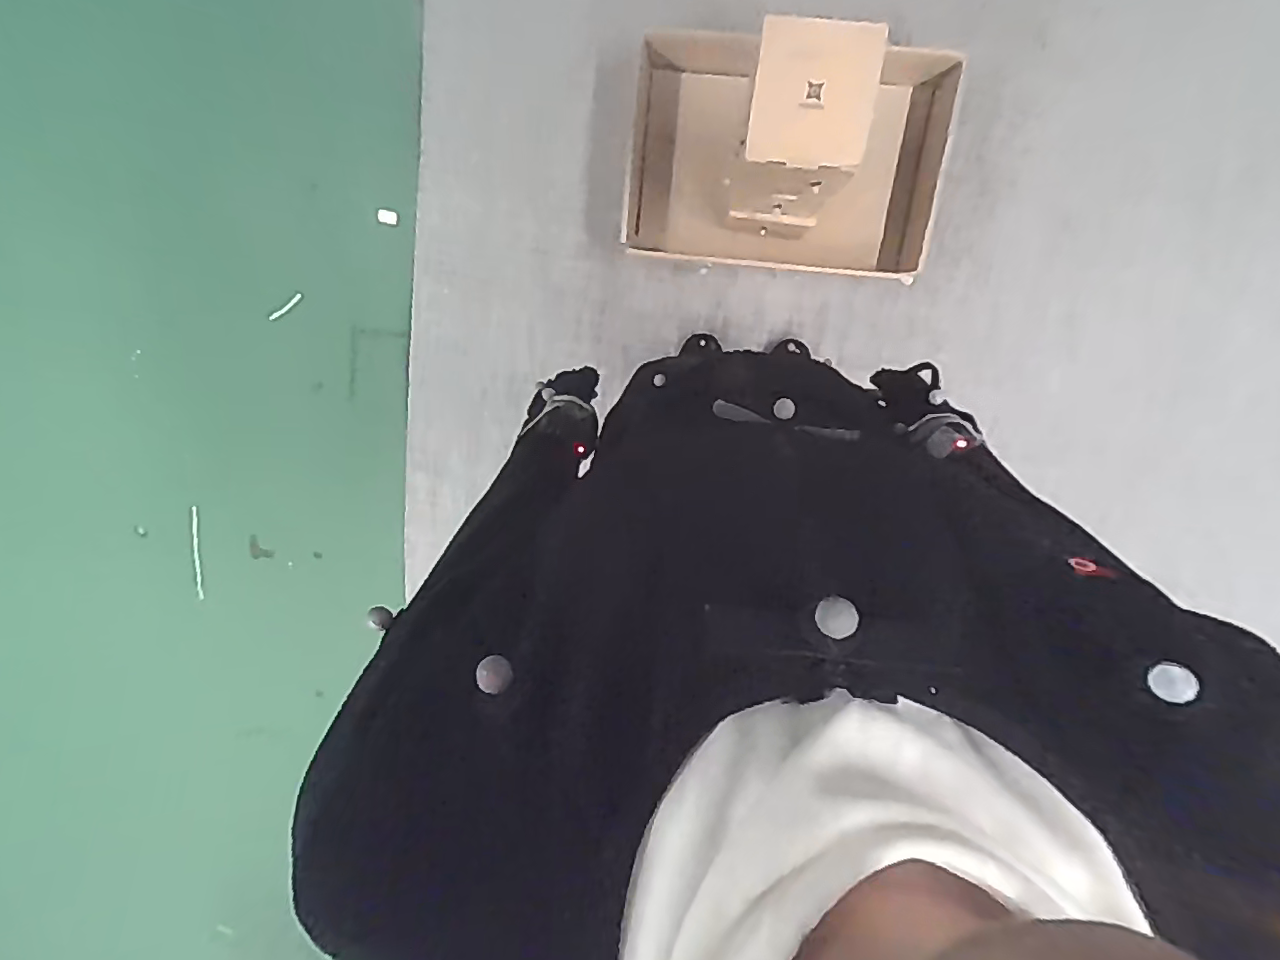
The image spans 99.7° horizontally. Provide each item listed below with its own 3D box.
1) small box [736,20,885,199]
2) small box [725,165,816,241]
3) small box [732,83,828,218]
[{"bbox_3d":[0.242,-0.543,0.818,0.168,0.176,0.179,8,105,3],"label":"small box"},{"bbox_3d":[0.283,-0.616,1.149,0.179,0.176,0.168,11,105,4],"label":"small box"},{"bbox_3d":[0.262,-0.592,0.992,0.168,0.176,0.179,6,105,6],"label":"small box"}]
